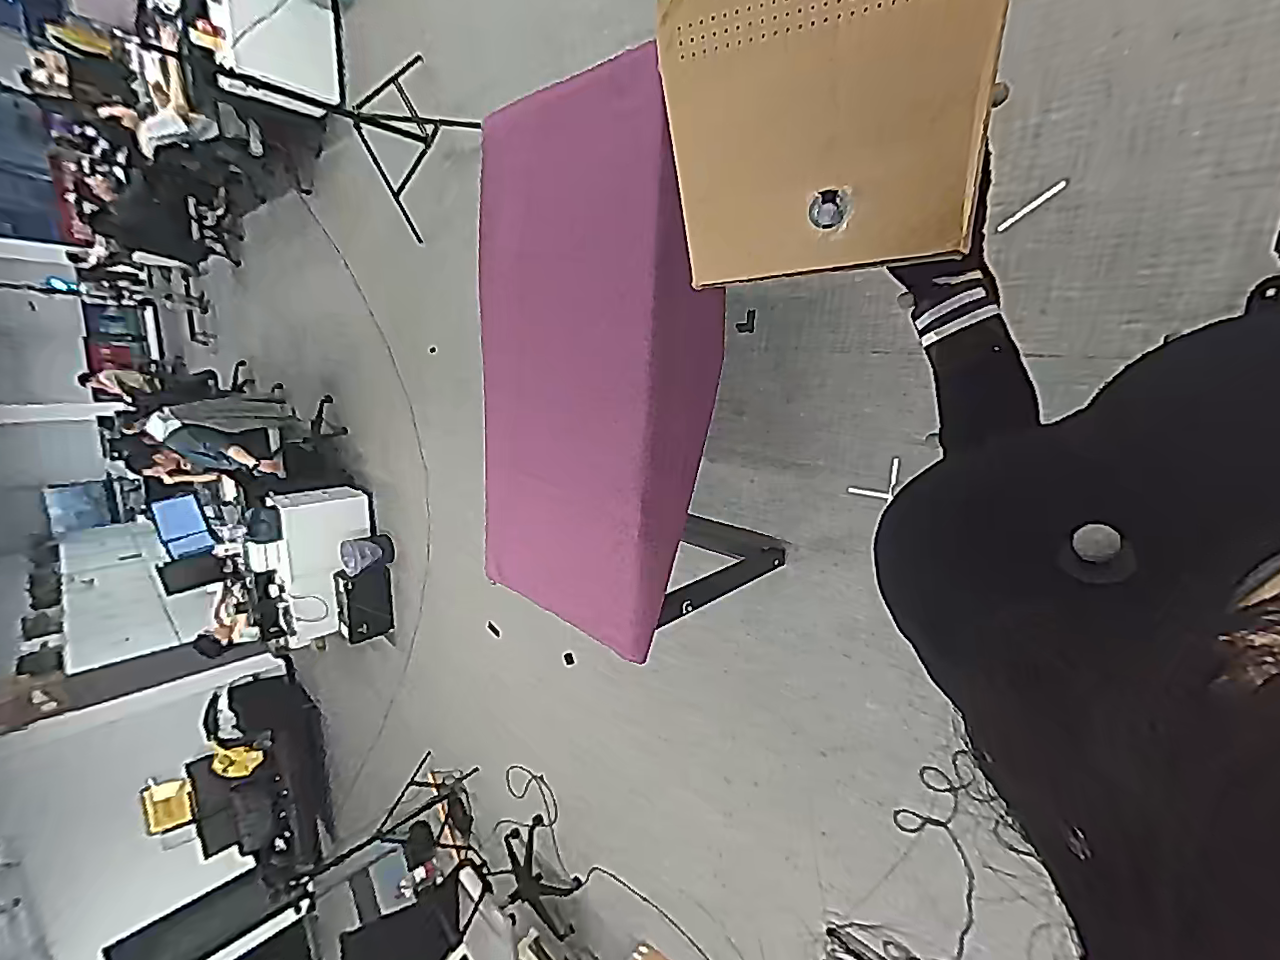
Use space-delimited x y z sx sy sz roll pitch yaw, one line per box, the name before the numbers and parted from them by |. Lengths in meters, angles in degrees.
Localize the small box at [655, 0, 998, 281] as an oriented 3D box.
small box | 0.123 -0.259 0.366 0.179 0.168 0.176 1 130 21
